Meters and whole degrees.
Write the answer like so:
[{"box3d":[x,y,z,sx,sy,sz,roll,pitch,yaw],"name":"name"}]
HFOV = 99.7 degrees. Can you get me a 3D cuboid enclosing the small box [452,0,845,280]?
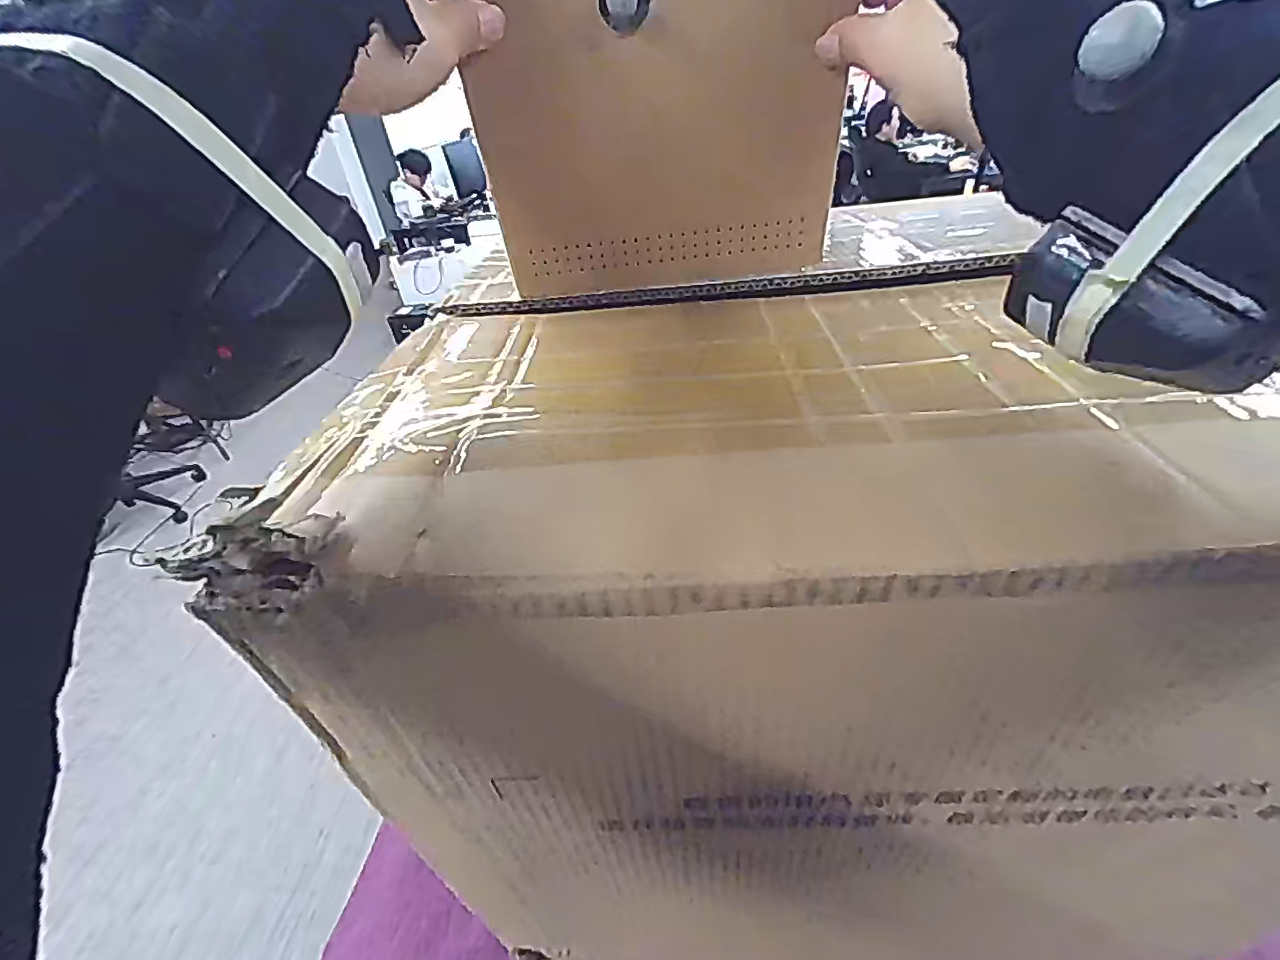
[{"box3d":[0.006,-0.227,0.305,0.179,0.176,0.168,-5,45,2],"name":"small box"}]
